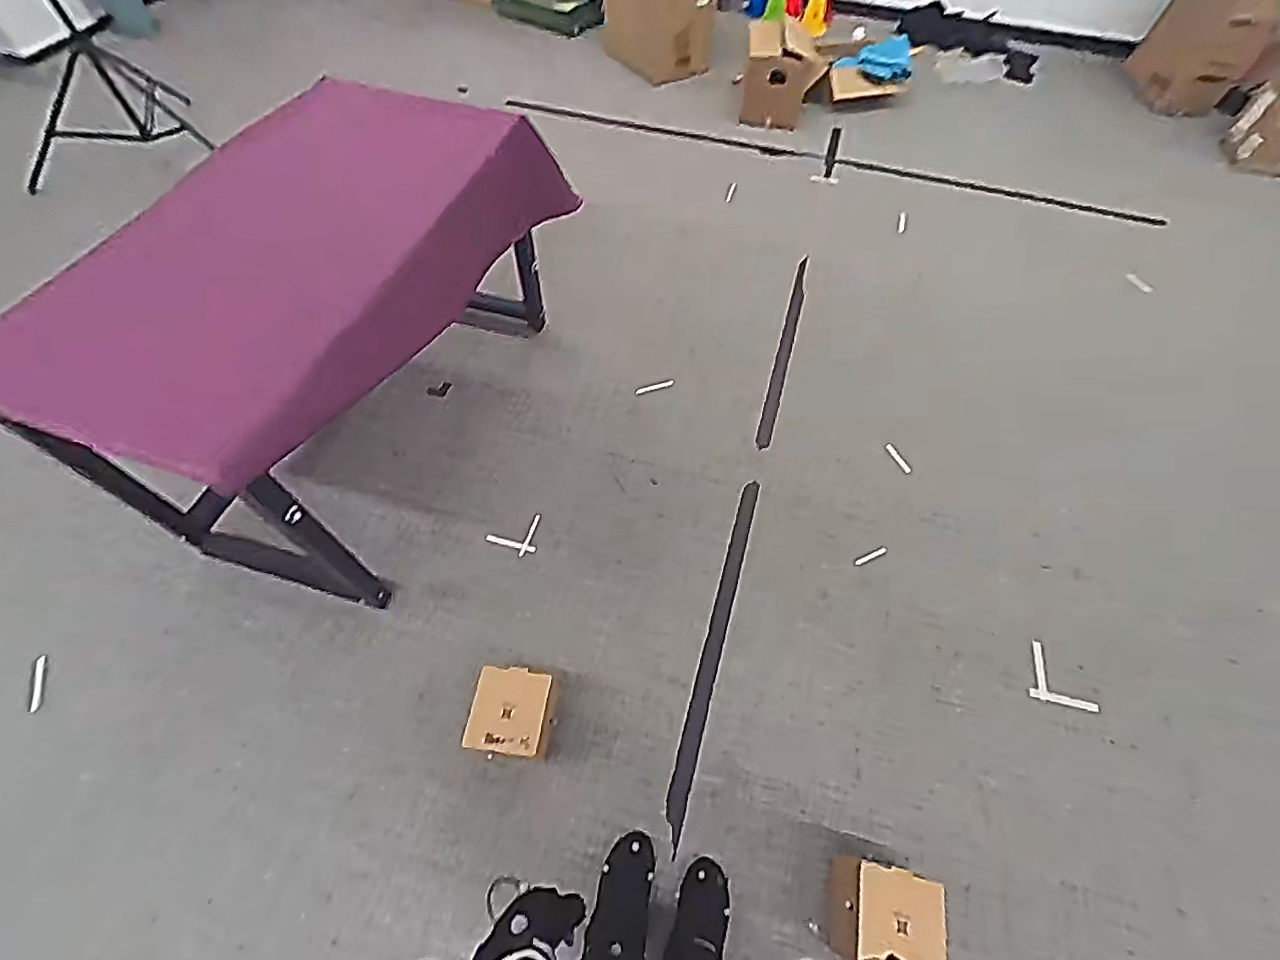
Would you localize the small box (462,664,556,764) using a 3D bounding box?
[{"bbox_3d":[-0.297,0.553,1.271,0.168,0.176,0.179,8,57,2],"label":"small box"}]

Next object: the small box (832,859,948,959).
[{"bbox_3d":[0.499,0.894,1.096,0.168,0.176,0.179,12,59,7],"label":"small box"}]
